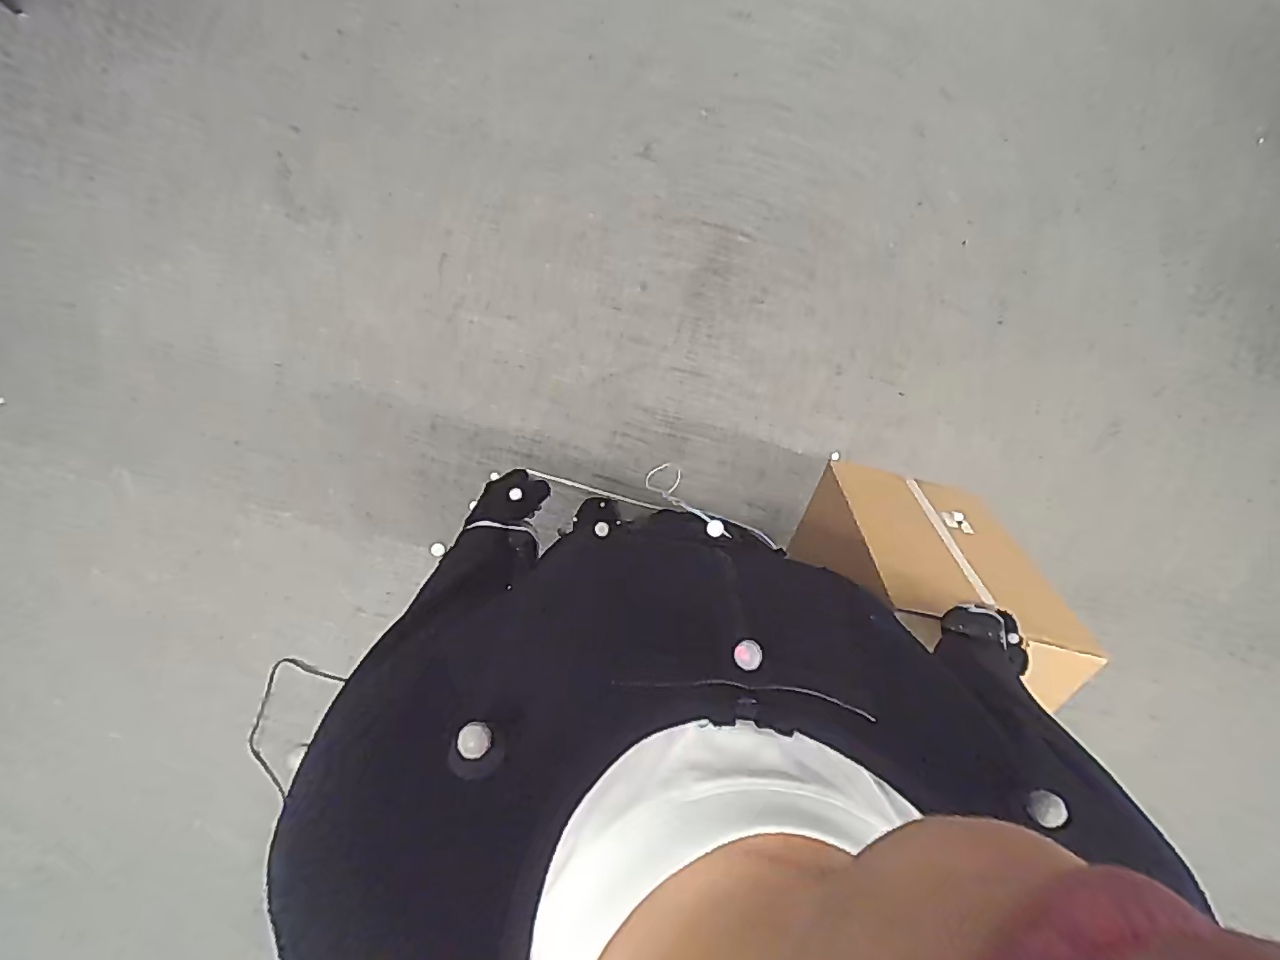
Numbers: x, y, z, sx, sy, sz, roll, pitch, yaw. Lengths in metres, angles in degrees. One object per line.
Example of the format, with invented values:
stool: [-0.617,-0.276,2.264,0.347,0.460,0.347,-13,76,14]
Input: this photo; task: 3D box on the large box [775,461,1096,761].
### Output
large box: [0.468,0.220,0.983,0.320,0.408,0.320,14,121,-4]
